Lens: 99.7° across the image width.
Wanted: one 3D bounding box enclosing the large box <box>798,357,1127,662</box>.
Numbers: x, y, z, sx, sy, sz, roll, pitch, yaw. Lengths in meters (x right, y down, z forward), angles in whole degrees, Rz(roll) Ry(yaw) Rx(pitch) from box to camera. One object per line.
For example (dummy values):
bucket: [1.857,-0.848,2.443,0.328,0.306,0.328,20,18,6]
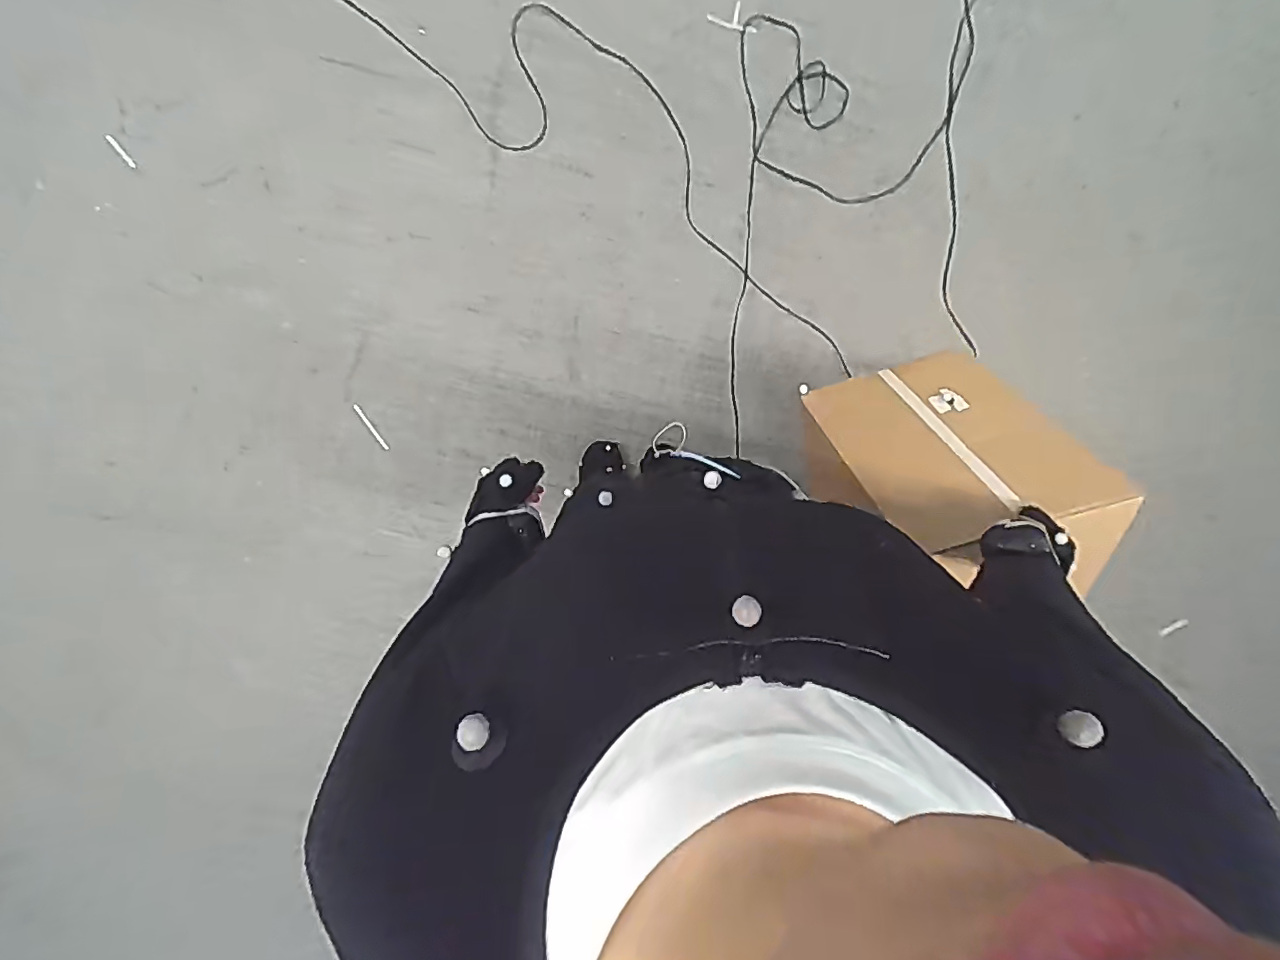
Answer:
large box: [0.511,0.042,0.970,0.320,0.408,0.320,-15,132,1]
